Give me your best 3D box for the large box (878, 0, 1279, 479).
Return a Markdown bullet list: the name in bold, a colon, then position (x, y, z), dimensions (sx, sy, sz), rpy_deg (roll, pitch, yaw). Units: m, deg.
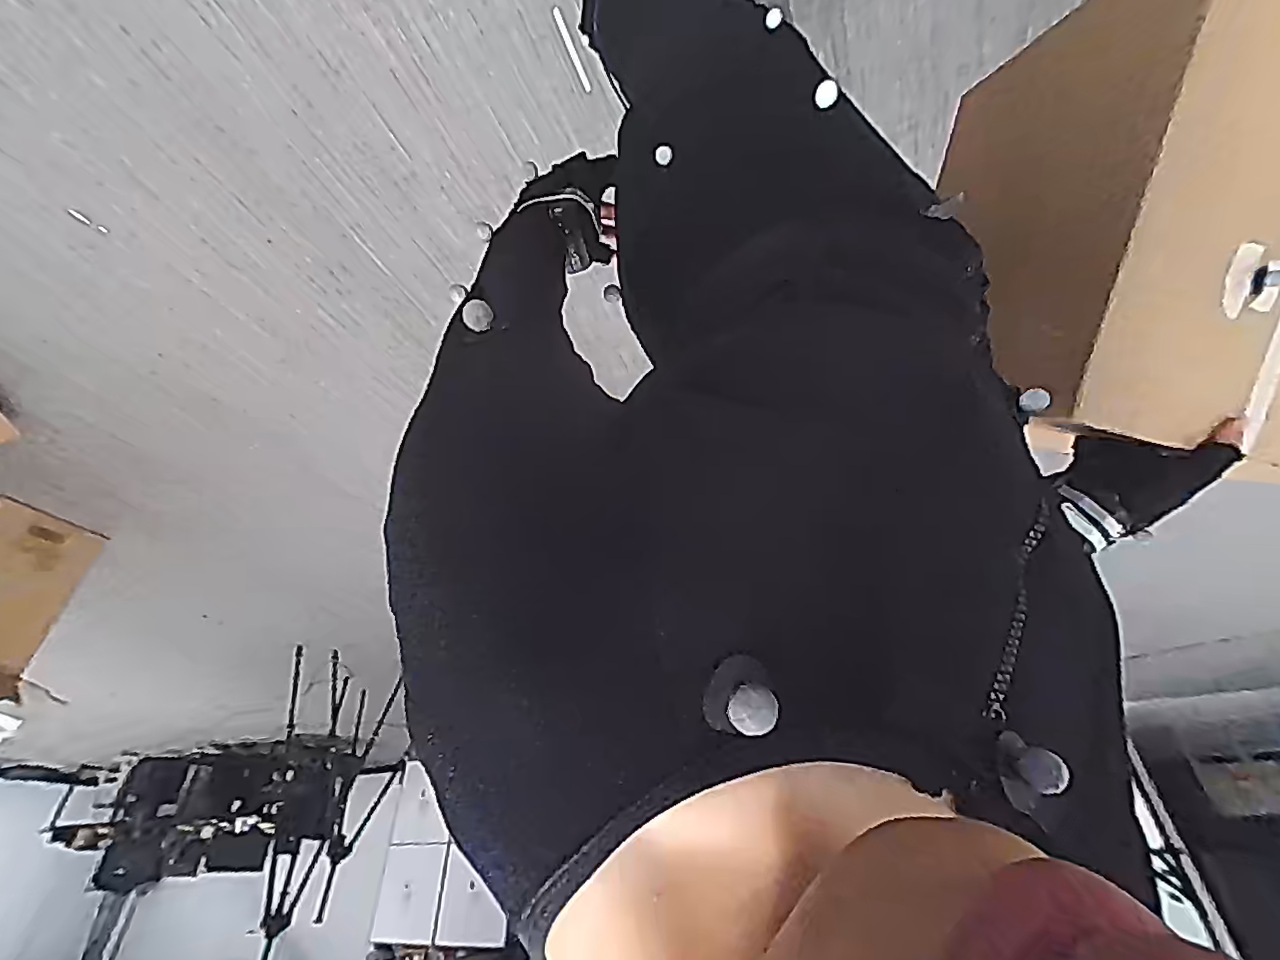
- **large box**: position (0.522, -0.240, 0.588), dimensions (0.320, 0.320, 0.408), rpy_deg (11, 99, -6)
